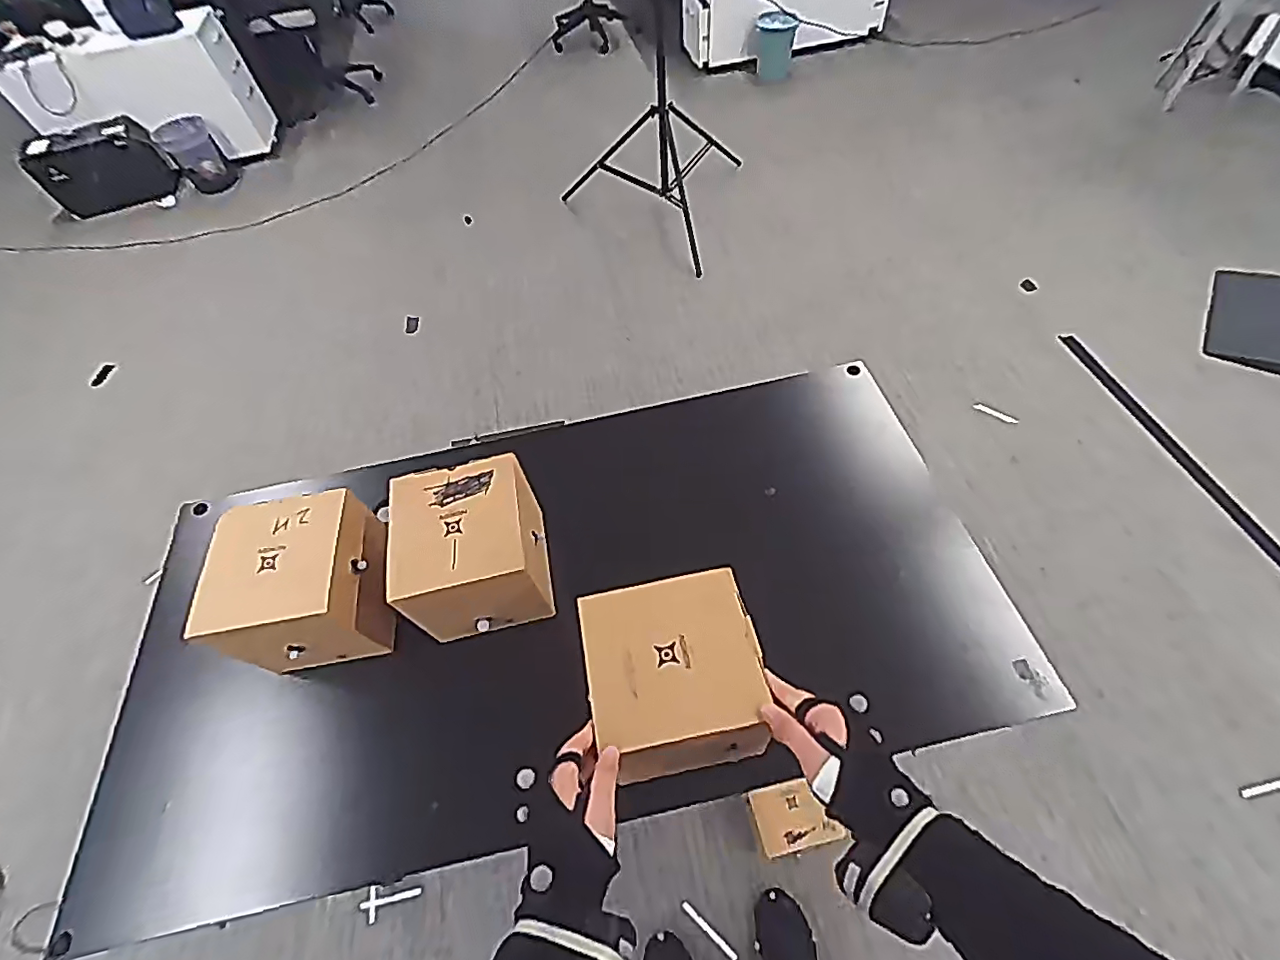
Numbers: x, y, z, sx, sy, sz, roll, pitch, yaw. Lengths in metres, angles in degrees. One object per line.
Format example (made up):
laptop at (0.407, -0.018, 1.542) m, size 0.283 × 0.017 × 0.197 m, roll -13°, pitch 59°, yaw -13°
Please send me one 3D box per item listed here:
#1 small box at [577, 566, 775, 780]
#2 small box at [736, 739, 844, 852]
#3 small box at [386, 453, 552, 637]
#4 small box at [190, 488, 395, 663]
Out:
small box at (0.036, 0.223, 0.616) m, size 0.179 × 0.176 × 0.168 m, roll -13°, pitch 52°, yaw -2°
small box at (0.313, 0.686, 1.173) m, size 0.168 × 0.176 × 0.179 m, roll -14°, pitch 57°, yaw -2°
small box at (-0.225, 0.093, 0.741) m, size 0.168 × 0.176 × 0.179 m, roll -13°, pitch 58°, yaw -3°
small box at (-0.445, 0.138, 0.733) m, size 0.168 × 0.176 × 0.179 m, roll -10°, pitch 57°, yaw -2°
